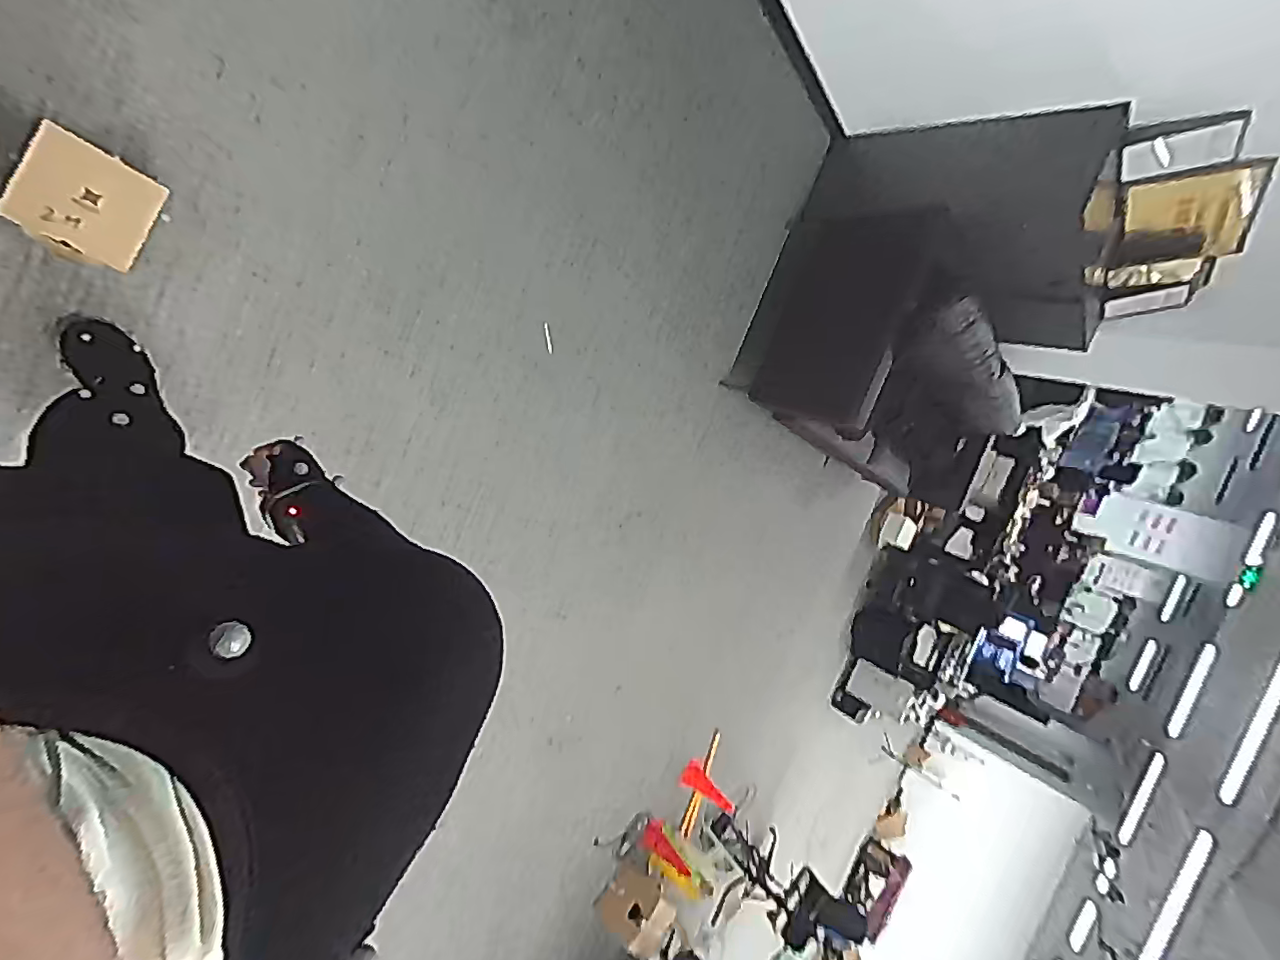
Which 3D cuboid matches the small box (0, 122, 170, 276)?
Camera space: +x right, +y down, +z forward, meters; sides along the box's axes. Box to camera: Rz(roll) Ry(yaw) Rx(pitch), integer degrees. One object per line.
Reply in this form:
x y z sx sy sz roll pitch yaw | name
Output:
-0.998 -0.496 0.971 0.168 0.176 0.179 37 81 -46 | small box
